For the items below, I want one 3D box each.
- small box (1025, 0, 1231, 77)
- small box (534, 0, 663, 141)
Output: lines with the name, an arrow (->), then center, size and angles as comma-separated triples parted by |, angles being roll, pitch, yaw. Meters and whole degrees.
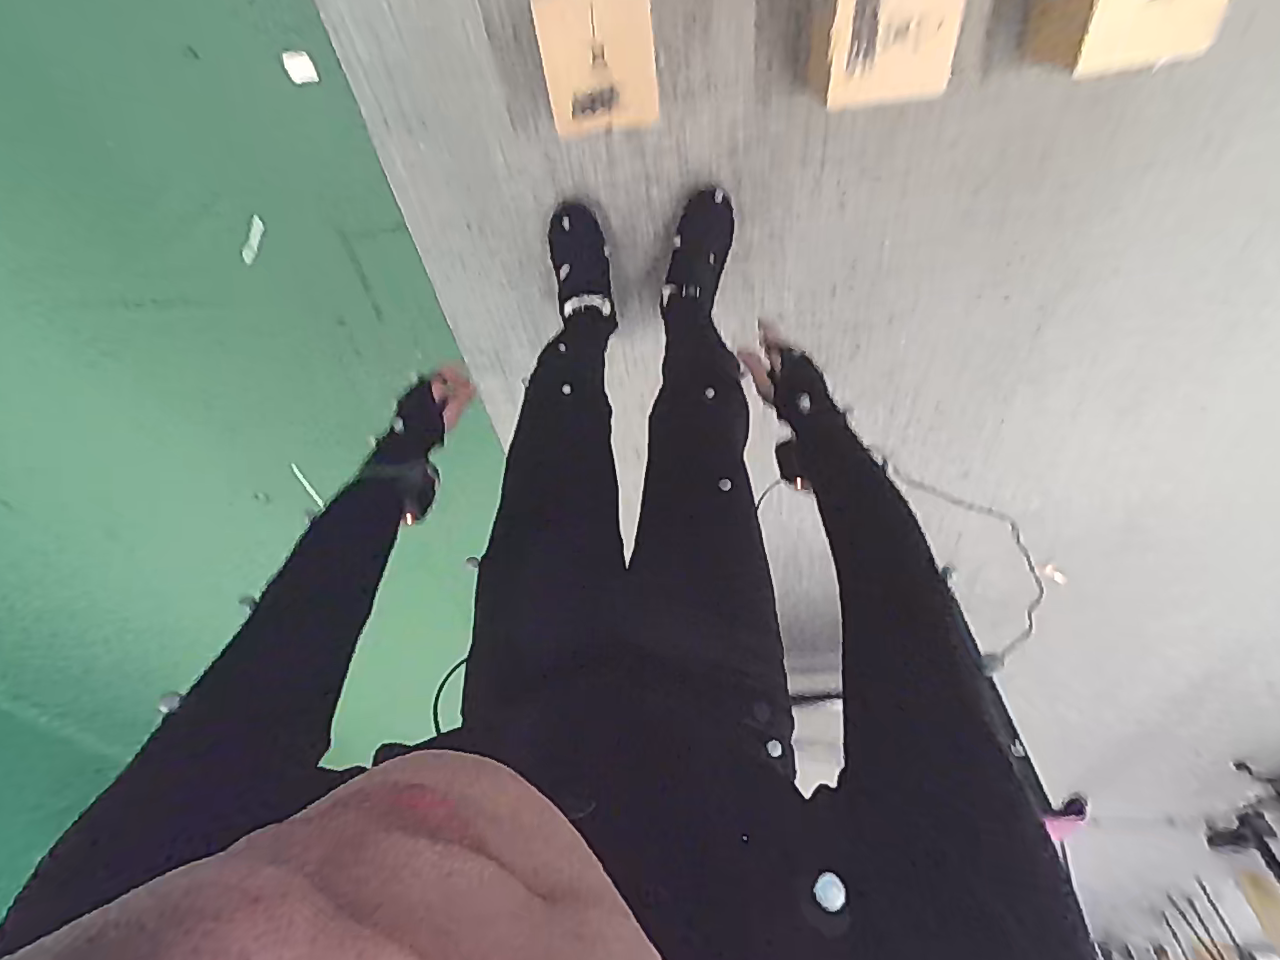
small box -> 0.701, -0.701, 0.775 | 0.179, 0.176, 0.168 | -7, 132, 7
small box -> -0.052, -0.657, 0.844 | 0.168, 0.176, 0.179 | -4, 132, 6
